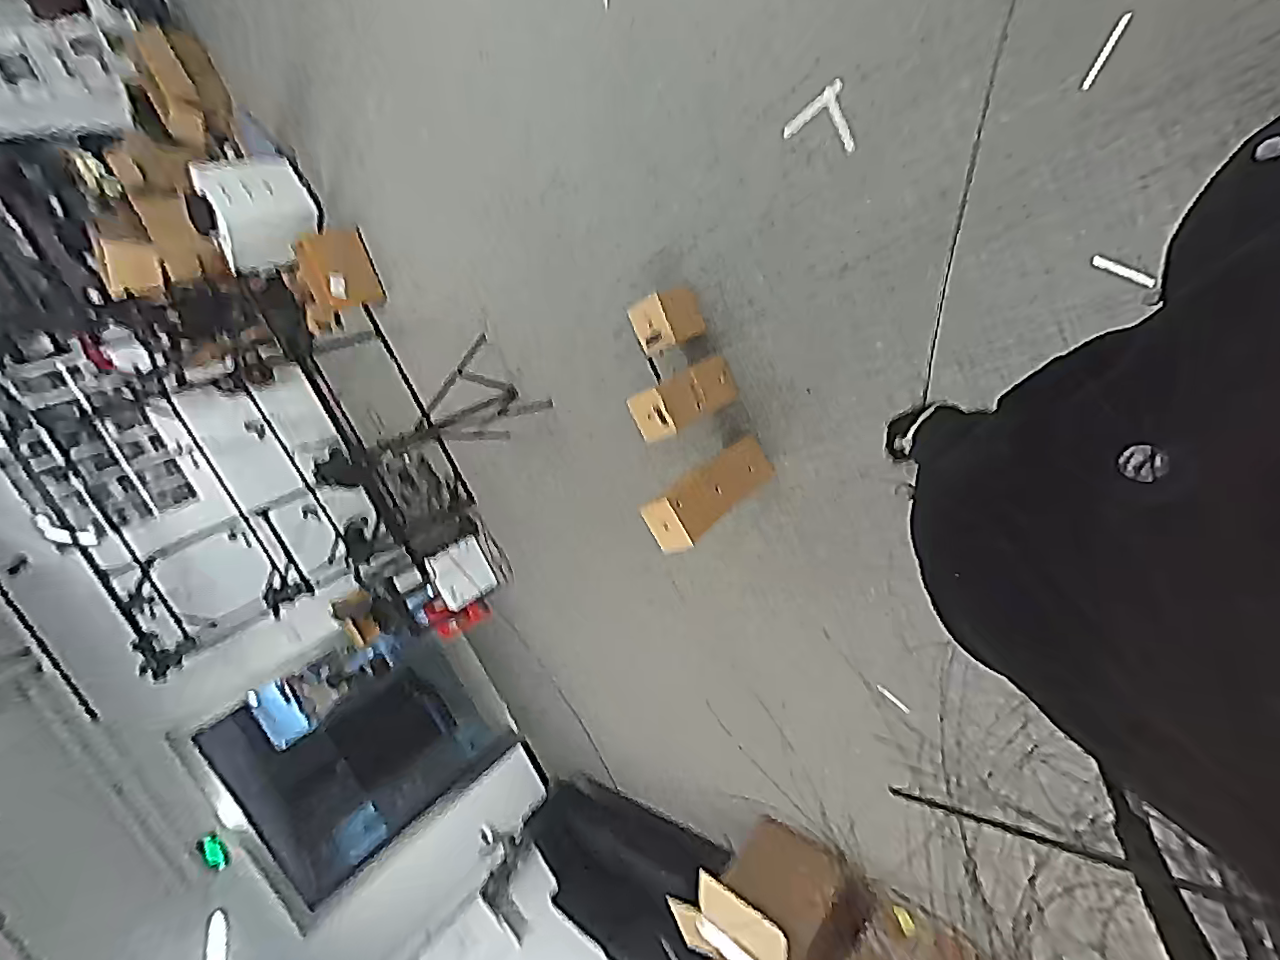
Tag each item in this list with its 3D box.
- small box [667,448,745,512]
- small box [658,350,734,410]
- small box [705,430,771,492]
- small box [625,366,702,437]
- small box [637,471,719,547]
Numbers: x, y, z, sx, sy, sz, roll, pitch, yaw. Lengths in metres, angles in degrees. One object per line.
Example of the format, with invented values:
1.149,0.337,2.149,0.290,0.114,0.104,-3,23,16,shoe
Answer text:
0.235,0.014,1.890,0.168,0.176,0.179,-26,95,53,small box
0.203,-0.345,1.930,0.179,0.176,0.168,-10,109,52,small box
0.348,-0.056,1.985,0.179,0.176,0.168,58,144,-3,small box
0.087,-0.268,1.842,0.179,0.176,0.168,-15,105,54,small box
0.131,0.096,1.796,0.168,0.176,0.179,-26,96,53,small box
